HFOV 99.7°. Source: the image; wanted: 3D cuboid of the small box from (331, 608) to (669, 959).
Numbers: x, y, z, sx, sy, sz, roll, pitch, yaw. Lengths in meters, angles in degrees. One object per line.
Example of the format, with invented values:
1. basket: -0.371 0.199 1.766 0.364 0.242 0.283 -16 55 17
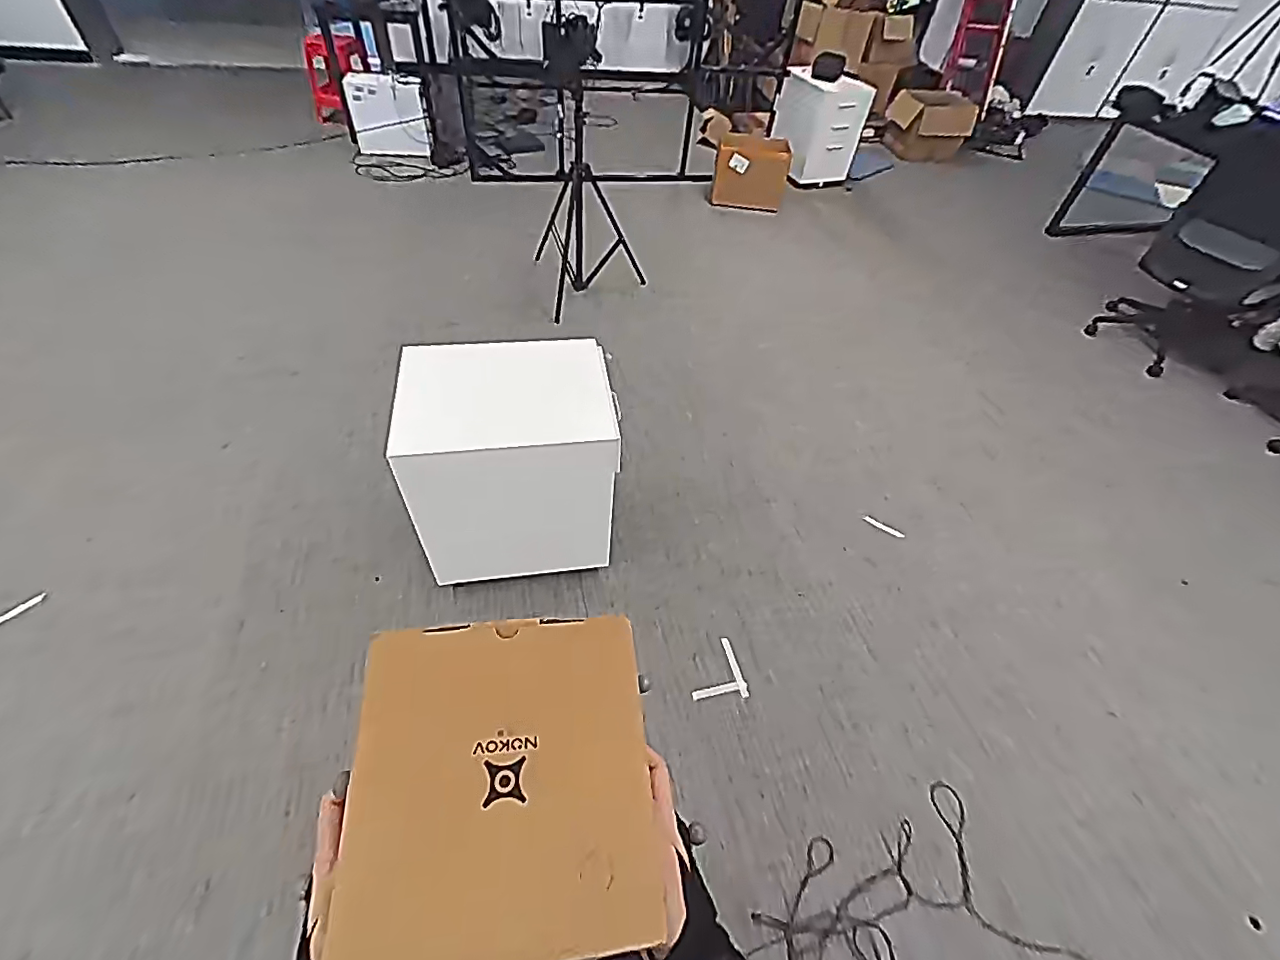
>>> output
1. small box: -0.086 0.206 0.372 0.168 0.176 0.179 -2 55 -12
